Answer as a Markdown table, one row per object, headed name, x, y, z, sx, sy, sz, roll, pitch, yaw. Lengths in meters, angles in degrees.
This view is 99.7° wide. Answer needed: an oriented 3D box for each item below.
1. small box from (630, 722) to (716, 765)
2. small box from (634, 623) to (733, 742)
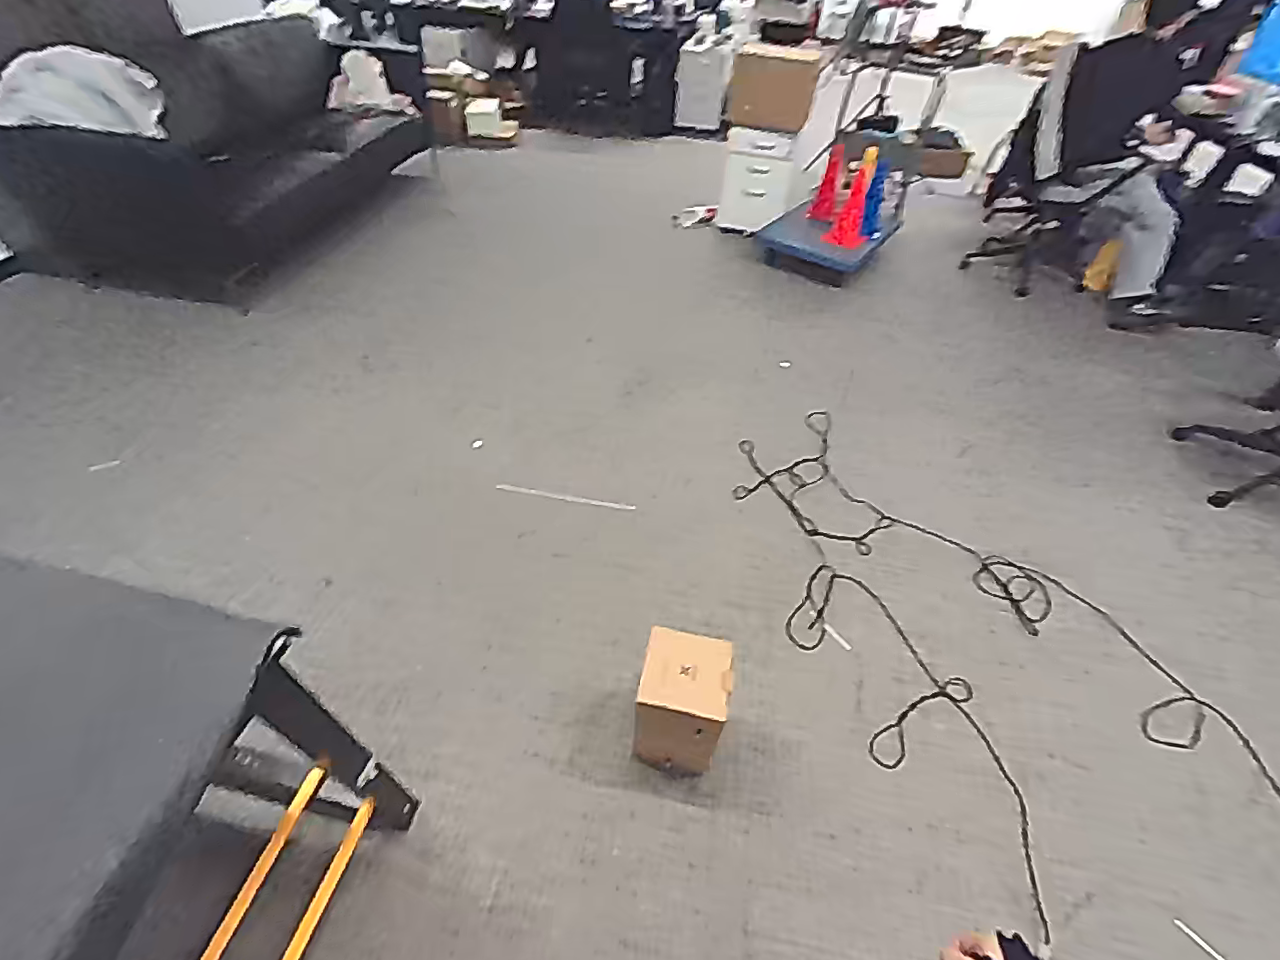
| name | x | y | z | sx | sy | sz | roll | pitch | yaw |
| --- | --- | --- | --- | --- | --- | --- | --- | --- | --- |
| small box | 0.084 | 0.537 | 1.253 | 0.179 | 0.176 | 0.168 | 14 | 46 | 7 |
| small box | 0.089 | 0.428 | 1.133 | 0.179 | 0.176 | 0.168 | 10 | 46 | 7 |
